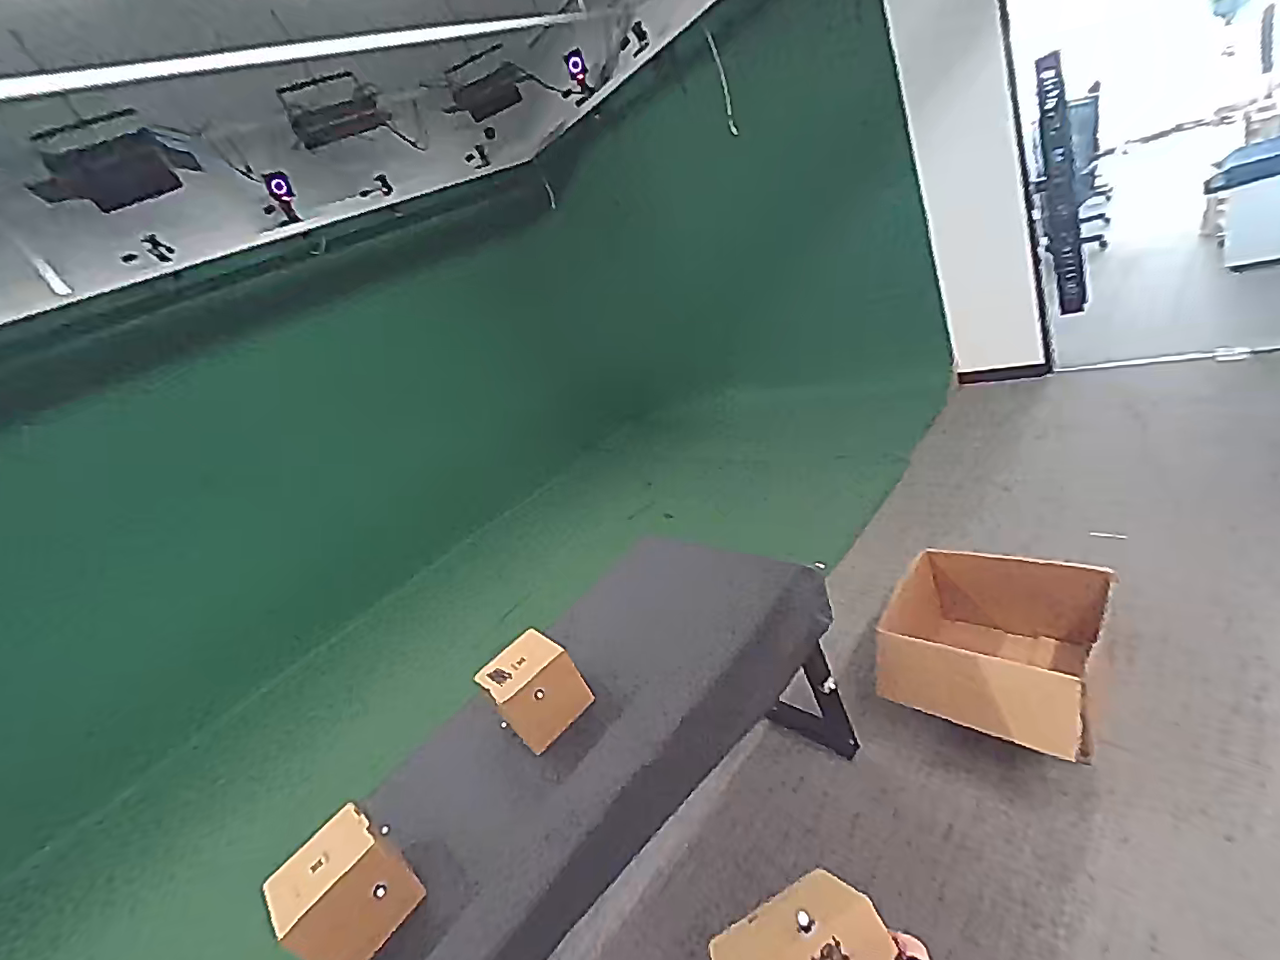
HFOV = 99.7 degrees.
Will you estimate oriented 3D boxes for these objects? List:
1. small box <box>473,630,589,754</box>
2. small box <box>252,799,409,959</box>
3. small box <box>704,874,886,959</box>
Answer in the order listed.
[{"bbox_3d":[-0.249,0.490,1.255,0.179,0.176,0.168,-36,26,-26],"label":"small box"},{"bbox_3d":[-0.548,0.736,0.976,0.168,0.176,0.179,0,33,47],"label":"small box"},{"bbox_3d":[0.181,0.553,0.558,0.168,0.176,0.179,-27,64,-13],"label":"small box"}]
